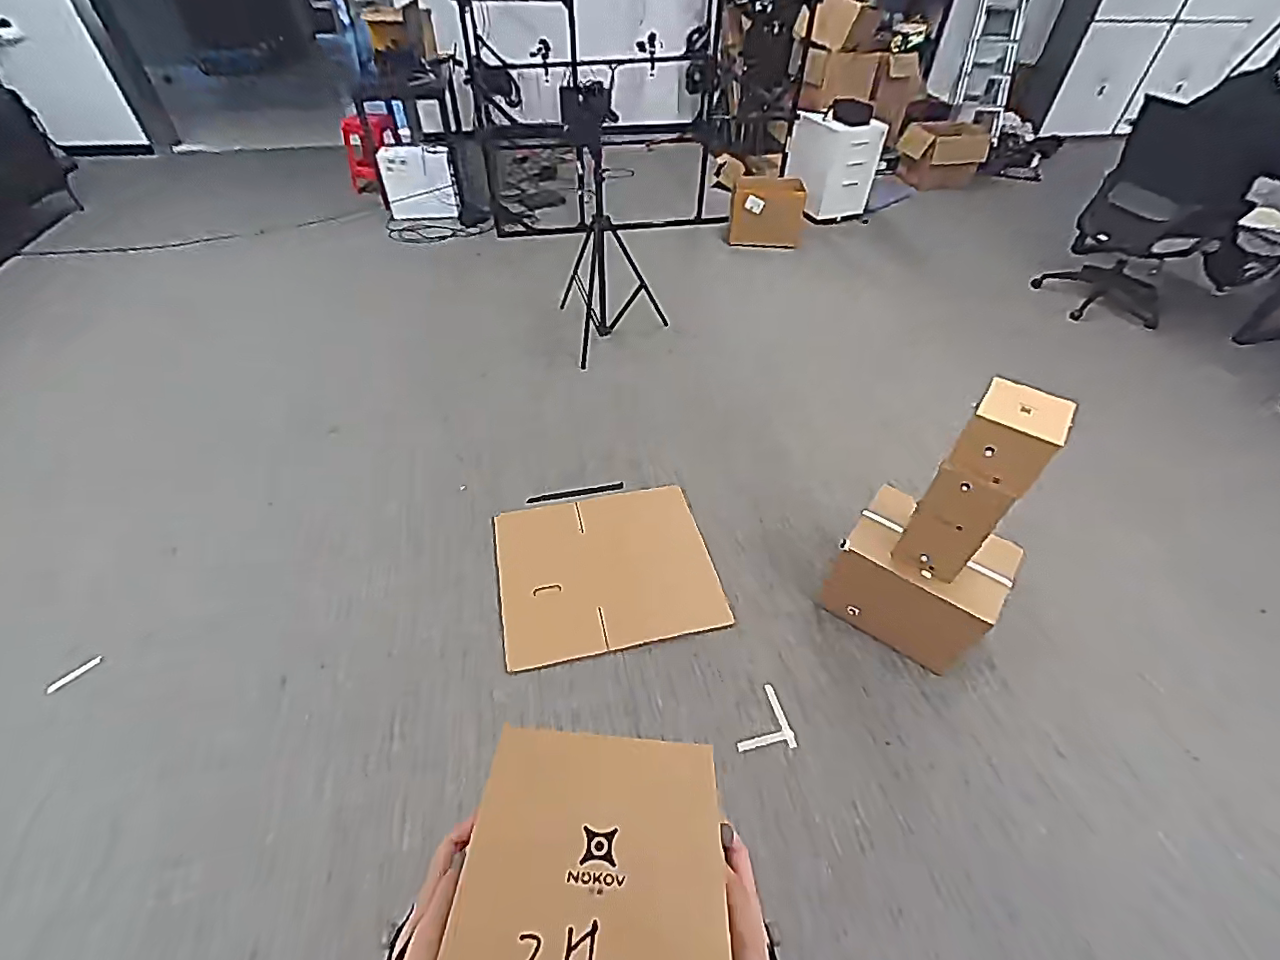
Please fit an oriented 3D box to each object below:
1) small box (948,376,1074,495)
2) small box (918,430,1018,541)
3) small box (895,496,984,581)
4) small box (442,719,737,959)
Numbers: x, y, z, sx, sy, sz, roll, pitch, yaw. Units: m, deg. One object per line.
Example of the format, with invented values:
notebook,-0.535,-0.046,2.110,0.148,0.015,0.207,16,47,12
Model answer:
small box,0.815,-0.097,1.202,0.168,0.176,0.179,28,51,24
small box,0.811,0.014,1.321,0.168,0.176,0.179,28,51,25
small box,0.807,0.130,1.437,0.168,0.176,0.179,29,52,24
small box,-0.032,0.305,0.386,0.168,0.176,0.179,5,31,-1
